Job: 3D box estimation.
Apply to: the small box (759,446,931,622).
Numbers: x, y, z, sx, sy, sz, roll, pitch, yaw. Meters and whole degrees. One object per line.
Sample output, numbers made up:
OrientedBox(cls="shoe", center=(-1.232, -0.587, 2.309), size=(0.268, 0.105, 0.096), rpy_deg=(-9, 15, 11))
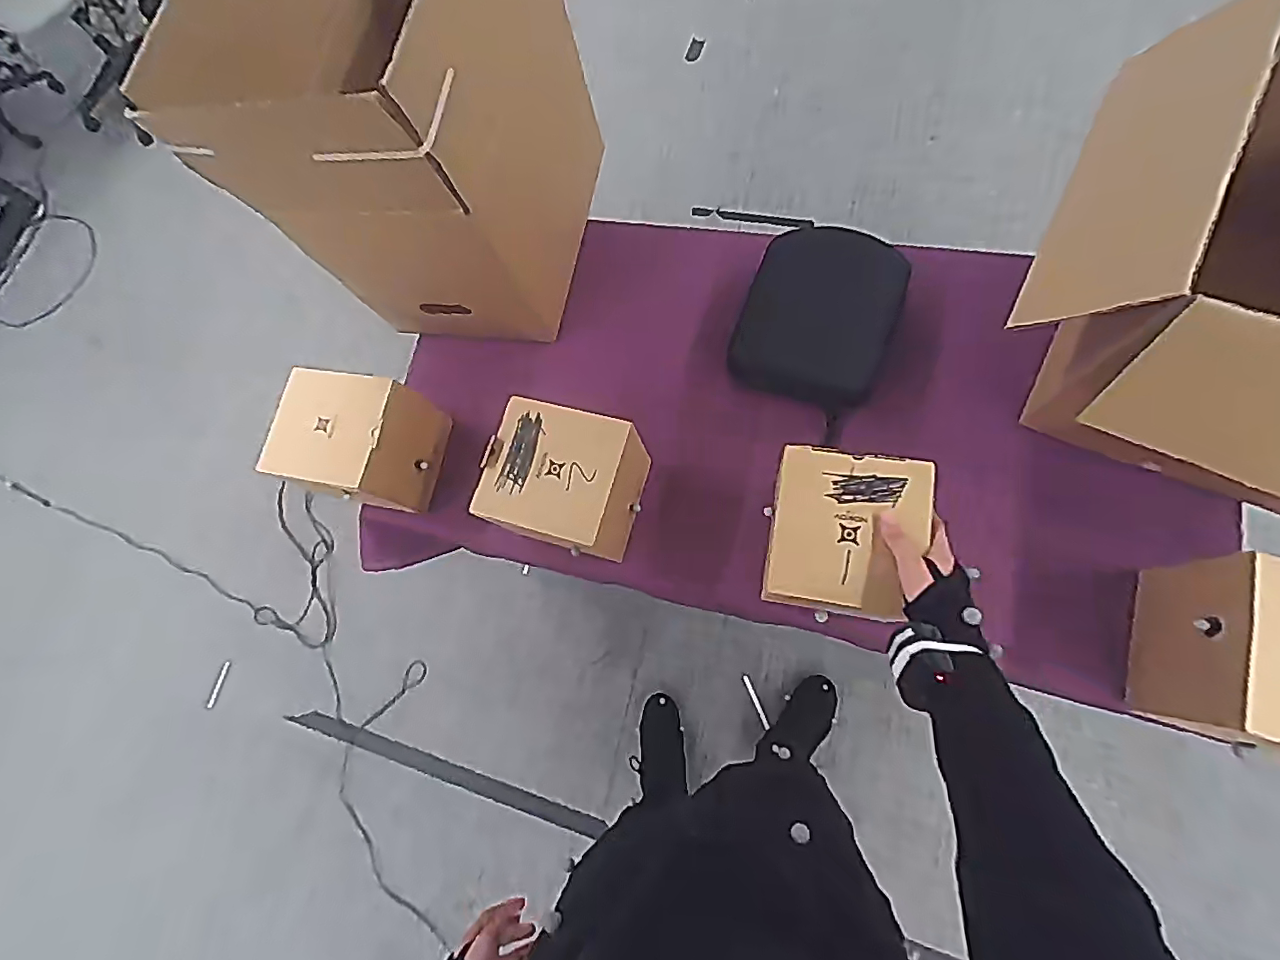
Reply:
OrientedBox(cls="small box", center=(0.244, 0.074, 0.676), size=(0.168, 0.176, 0.179), rpy_deg=(8, 77, 13))

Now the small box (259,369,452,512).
OrientedBox(cls="small box", center=(-0.428, -0.054, 0.842), size=(0.179, 0.176, 0.168), rpy_deg=(9, 76, 12))

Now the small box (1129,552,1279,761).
OrientedBox(cls="small box", center=(0.659, 0.191, 0.560), size=(0.168, 0.176, 0.179), rpy_deg=(15, 78, 15))
